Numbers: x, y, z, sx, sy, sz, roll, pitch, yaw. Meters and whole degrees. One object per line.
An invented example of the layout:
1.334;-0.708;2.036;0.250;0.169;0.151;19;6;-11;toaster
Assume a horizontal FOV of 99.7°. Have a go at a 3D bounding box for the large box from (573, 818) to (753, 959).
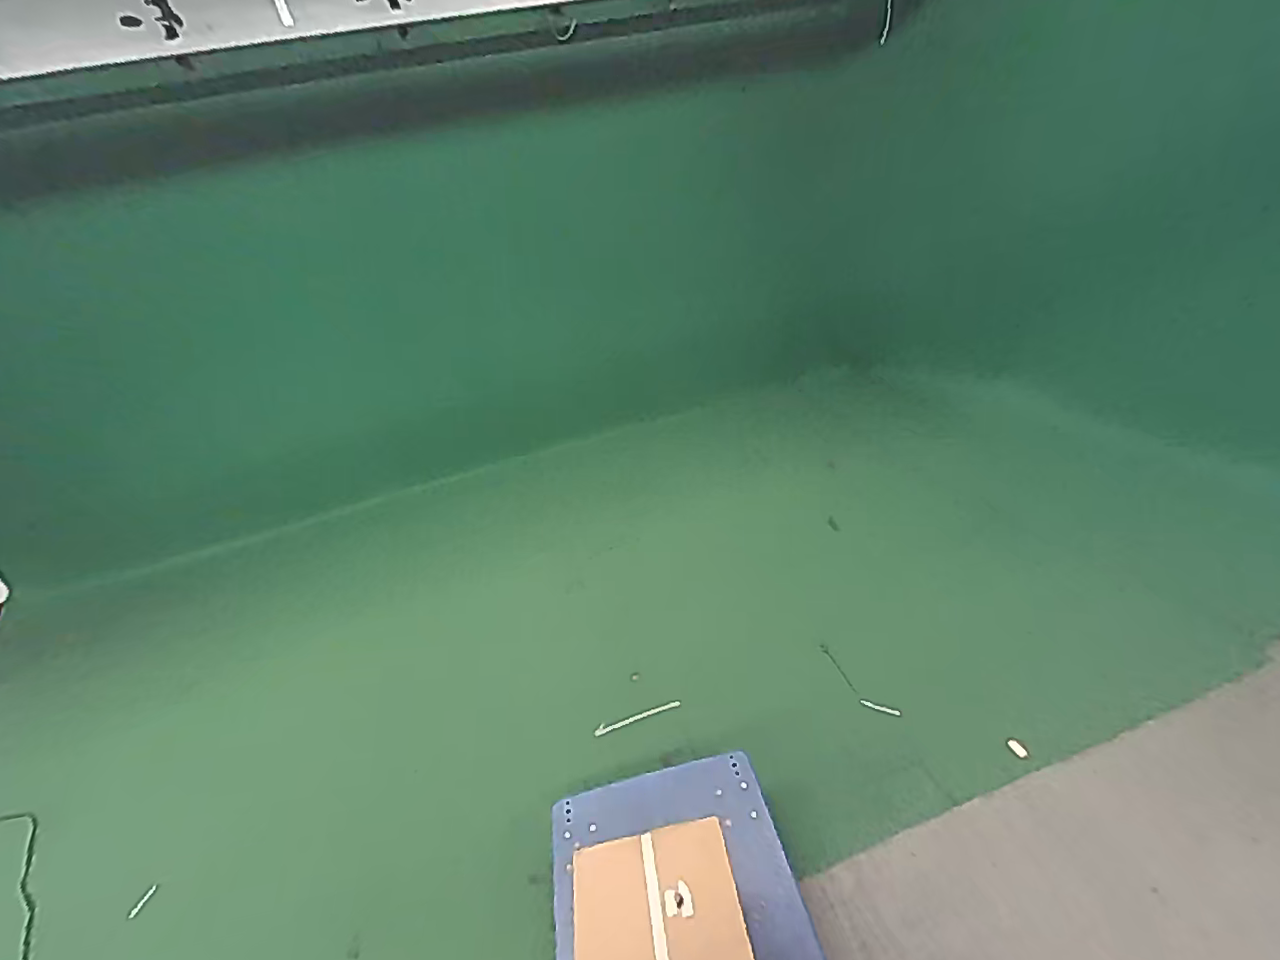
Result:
0.062;0.961;1.025;0.320;0.320;0.408;-12;28;-1;large box
